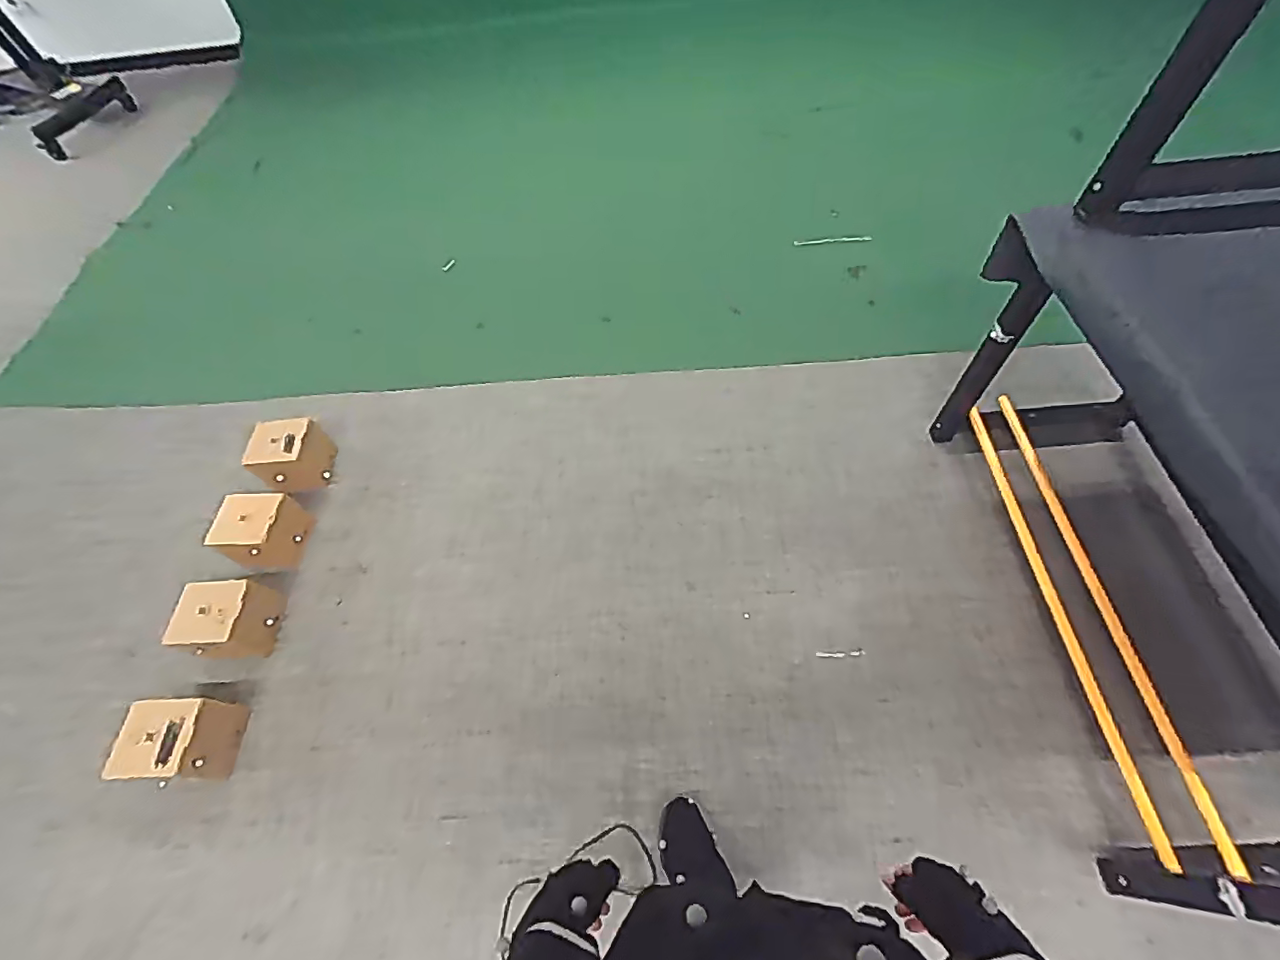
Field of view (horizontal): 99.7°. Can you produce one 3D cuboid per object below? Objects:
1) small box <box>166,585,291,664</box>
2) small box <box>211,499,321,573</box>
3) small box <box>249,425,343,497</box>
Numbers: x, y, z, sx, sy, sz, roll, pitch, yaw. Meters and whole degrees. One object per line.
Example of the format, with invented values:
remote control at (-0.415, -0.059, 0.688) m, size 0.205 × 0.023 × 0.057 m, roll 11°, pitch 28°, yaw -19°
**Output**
small box at (-1.095, 0.393, 1.455) m, size 0.179 × 0.176 × 0.168 m, roll -3°, pitch 58°, yaw 3°
small box at (-1.099, 0.170, 1.604) m, size 0.179 × 0.176 × 0.168 m, roll -1°, pitch 57°, yaw 4°
small box at (-1.101, -0.057, 1.749) m, size 0.179 × 0.176 × 0.168 m, roll -5°, pitch 57°, yaw 3°
